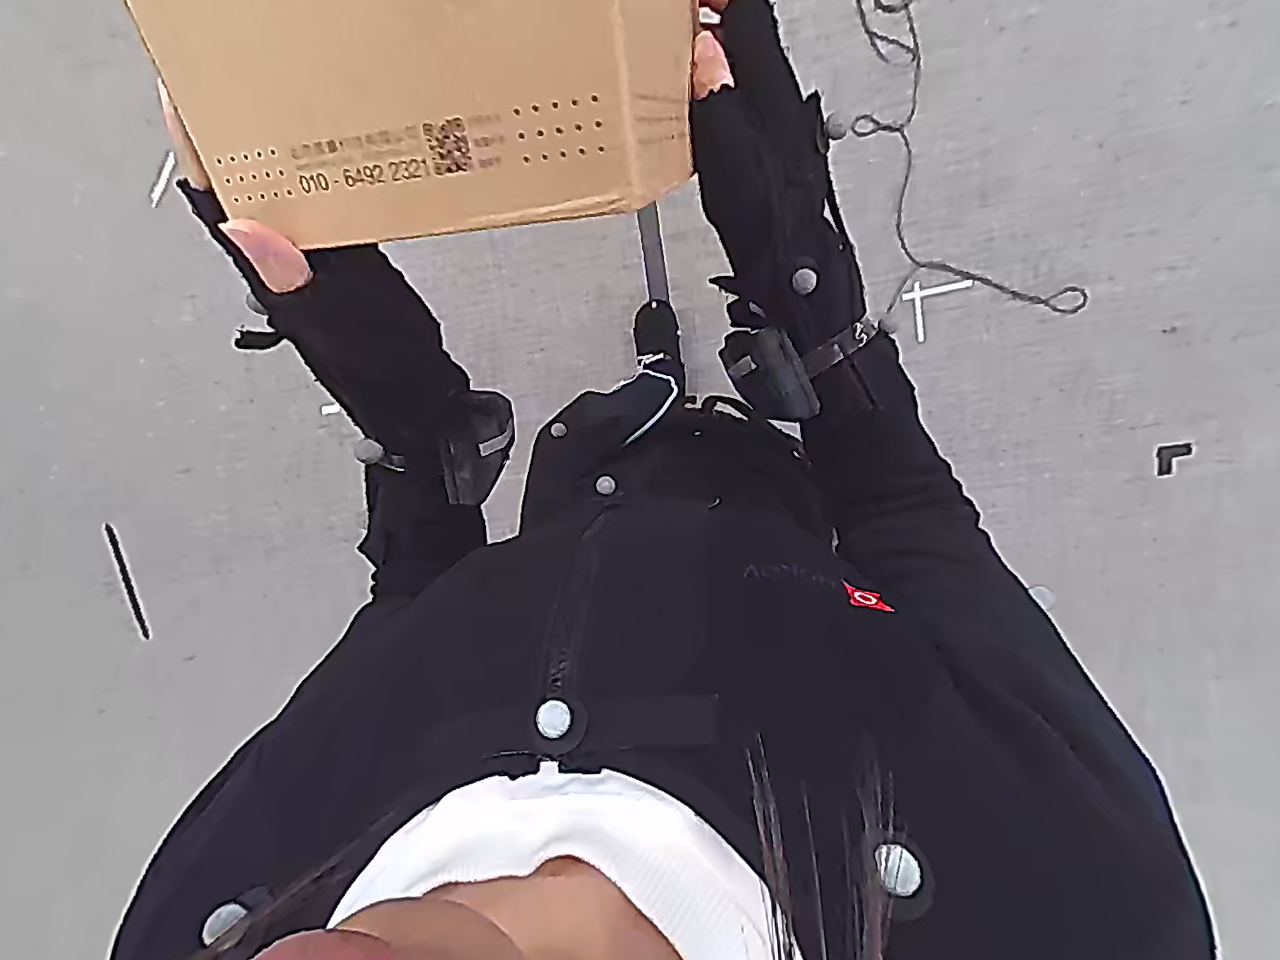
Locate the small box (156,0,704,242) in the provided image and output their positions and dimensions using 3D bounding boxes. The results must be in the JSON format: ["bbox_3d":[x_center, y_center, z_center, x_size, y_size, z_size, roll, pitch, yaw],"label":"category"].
[{"bbox_3d":[-0.069,-0.204,0.227,0.168,0.179,0.176,3,124,17],"label":"small box"}]
